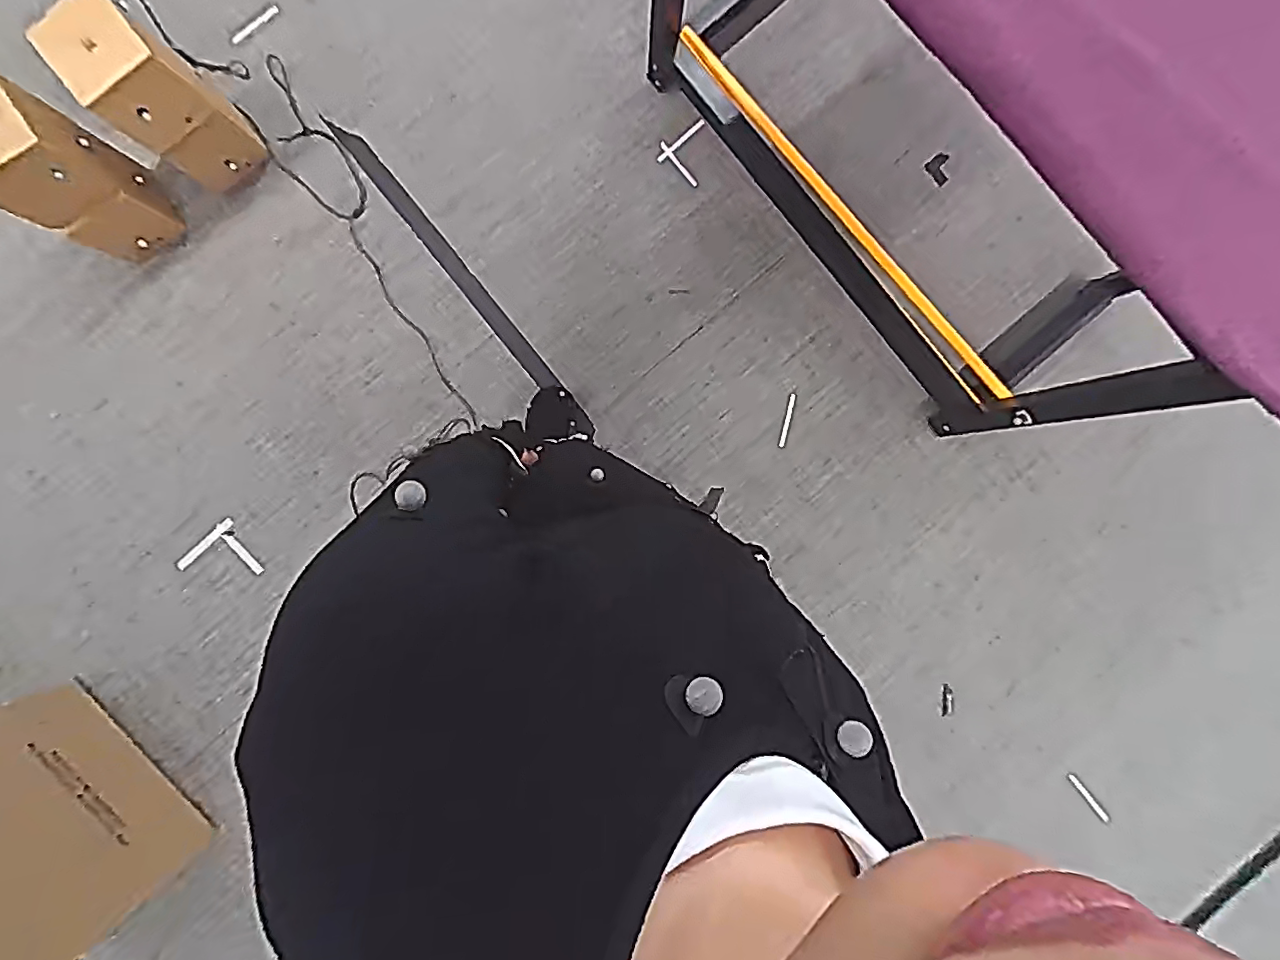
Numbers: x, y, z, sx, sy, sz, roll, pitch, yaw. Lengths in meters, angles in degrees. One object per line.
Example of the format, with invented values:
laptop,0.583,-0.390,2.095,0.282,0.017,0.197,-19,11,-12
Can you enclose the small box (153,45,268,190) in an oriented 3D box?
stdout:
small box,-1.011,-0.811,1.230,0.168,0.176,0.179,-38,92,1

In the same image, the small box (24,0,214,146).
small box,-1.010,-0.805,1.067,0.168,0.176,0.179,-38,91,1

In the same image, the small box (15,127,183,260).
small box,-1.213,-0.639,1.228,0.168,0.176,0.179,-33,93,-1
